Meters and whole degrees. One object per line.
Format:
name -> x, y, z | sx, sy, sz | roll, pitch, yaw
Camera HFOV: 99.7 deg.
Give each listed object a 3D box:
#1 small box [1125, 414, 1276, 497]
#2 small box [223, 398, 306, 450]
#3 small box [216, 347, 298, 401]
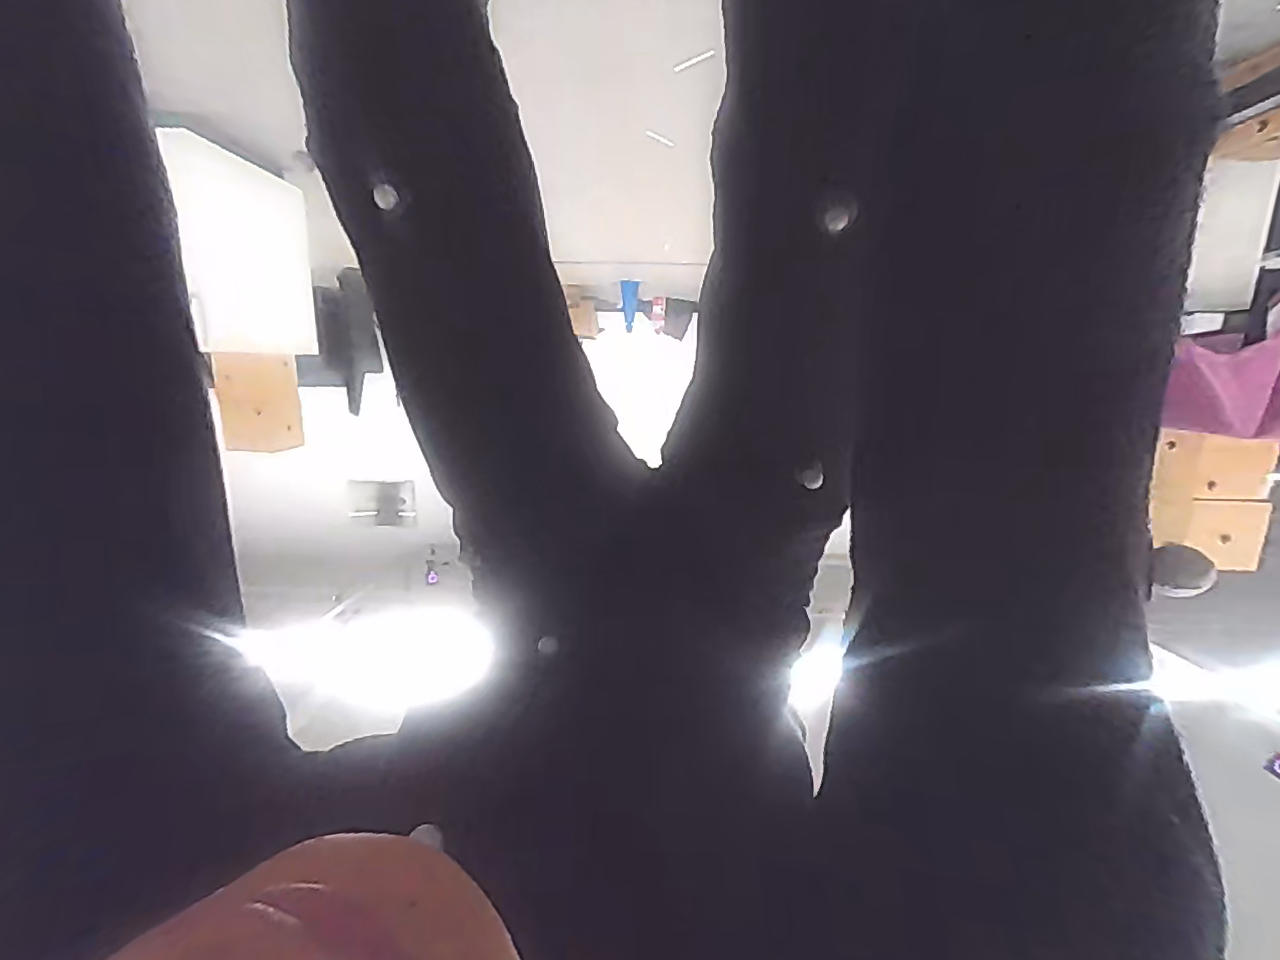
small box -> 1.321, -0.063, 1.279 | 0.179, 0.176, 0.168 | 2, -168, 1
small box -> -1.303, -0.202, 1.876 | 0.168, 0.176, 0.179 | 3, -166, 2
small box -> -1.299, -0.361, 1.835 | 0.179, 0.176, 0.168 | 1, -167, -2
